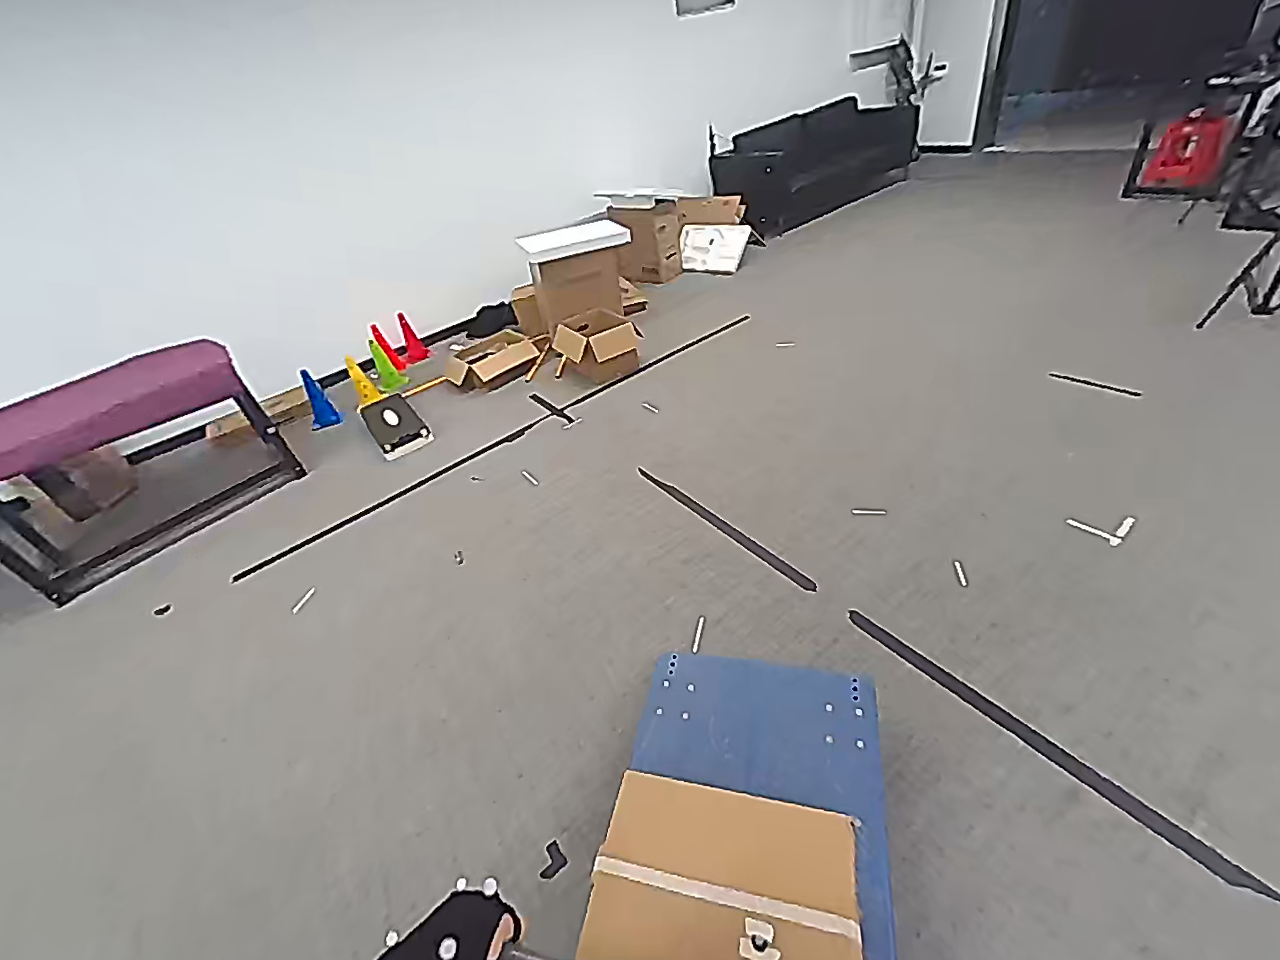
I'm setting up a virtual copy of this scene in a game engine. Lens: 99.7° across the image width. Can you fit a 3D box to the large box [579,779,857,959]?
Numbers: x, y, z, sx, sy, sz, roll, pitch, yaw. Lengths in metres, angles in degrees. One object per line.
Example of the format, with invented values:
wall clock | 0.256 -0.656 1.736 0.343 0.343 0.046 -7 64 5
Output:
large box | 0.145 0.776 0.931 0.408 0.320 0.320 3 40 17
